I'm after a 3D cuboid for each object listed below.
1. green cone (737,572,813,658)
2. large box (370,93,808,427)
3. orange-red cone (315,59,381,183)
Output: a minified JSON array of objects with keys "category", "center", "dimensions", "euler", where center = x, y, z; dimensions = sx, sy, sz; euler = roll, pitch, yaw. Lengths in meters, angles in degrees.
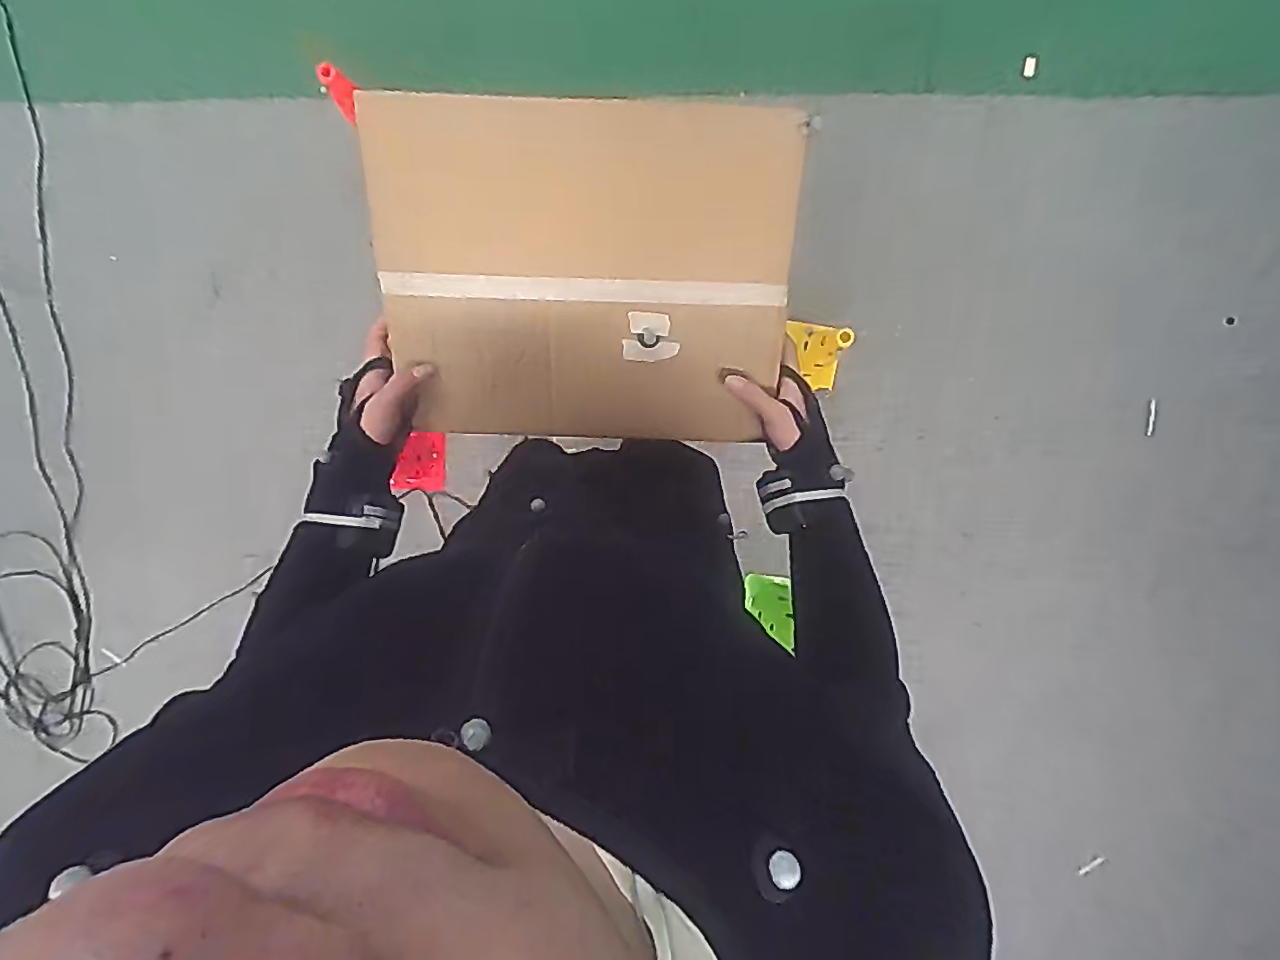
[{"category":"green cone","center":[0.403,0.401,1.480],"dimensions":[0.200,0.368,0.202],"euler":[6,95,0]},{"category":"large box","center":[-0.050,-0.260,0.681],"dimensions":[0.408,0.320,0.320],"euler":[1,114,-1]},{"category":"orange-red cone","center":[-0.694,-0.922,1.363],"dimensions":[0.199,0.360,0.198],"euler":[8,95,2]}]
